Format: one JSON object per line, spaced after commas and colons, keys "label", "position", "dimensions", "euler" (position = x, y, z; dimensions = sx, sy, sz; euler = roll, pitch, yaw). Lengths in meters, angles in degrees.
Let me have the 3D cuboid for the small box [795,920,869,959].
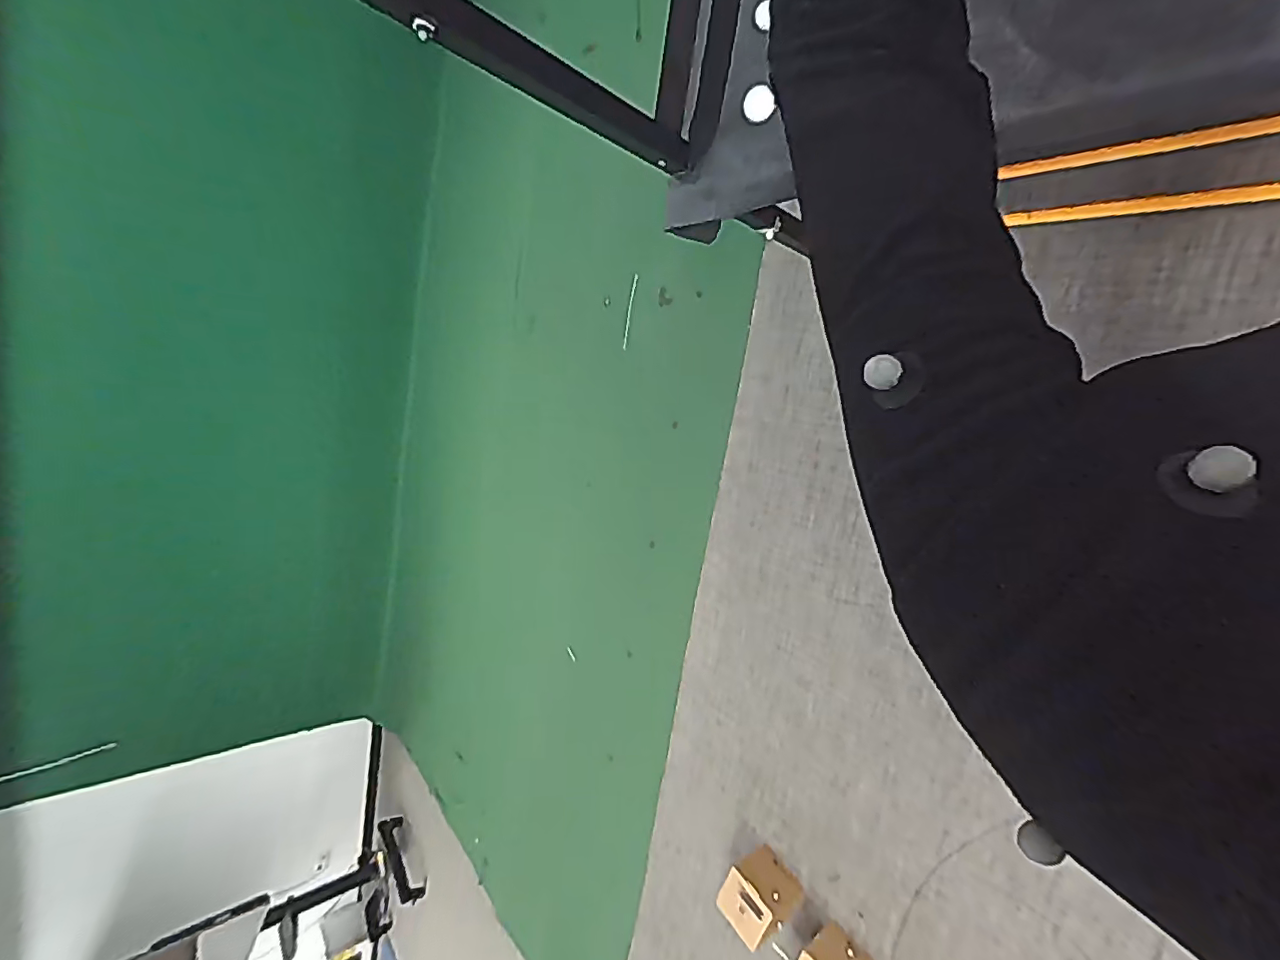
{"label": "small box", "position": [0.530, 1.399, 1.508], "dimensions": [0.168, 0.176, 0.179], "euler": [30, 110, 43]}
